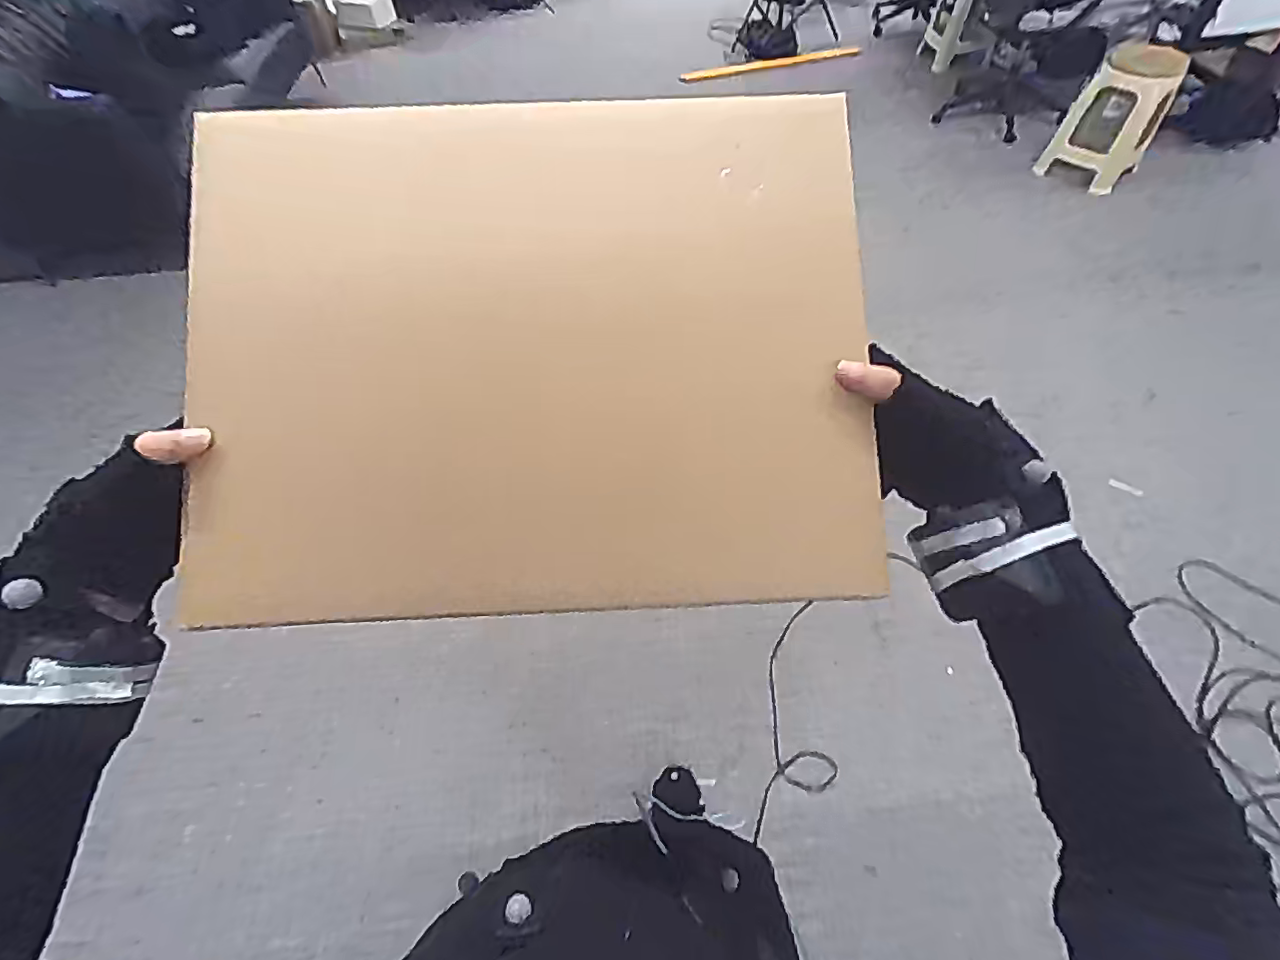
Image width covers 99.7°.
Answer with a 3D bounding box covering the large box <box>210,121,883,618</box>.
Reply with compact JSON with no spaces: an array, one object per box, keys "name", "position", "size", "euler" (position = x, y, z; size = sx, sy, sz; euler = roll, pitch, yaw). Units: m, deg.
[{"name":"large box","position":[-0.058,-0.061,0.475],"size":[0.408,0.320,0.320],"euler":[-1,85,-1]}]
